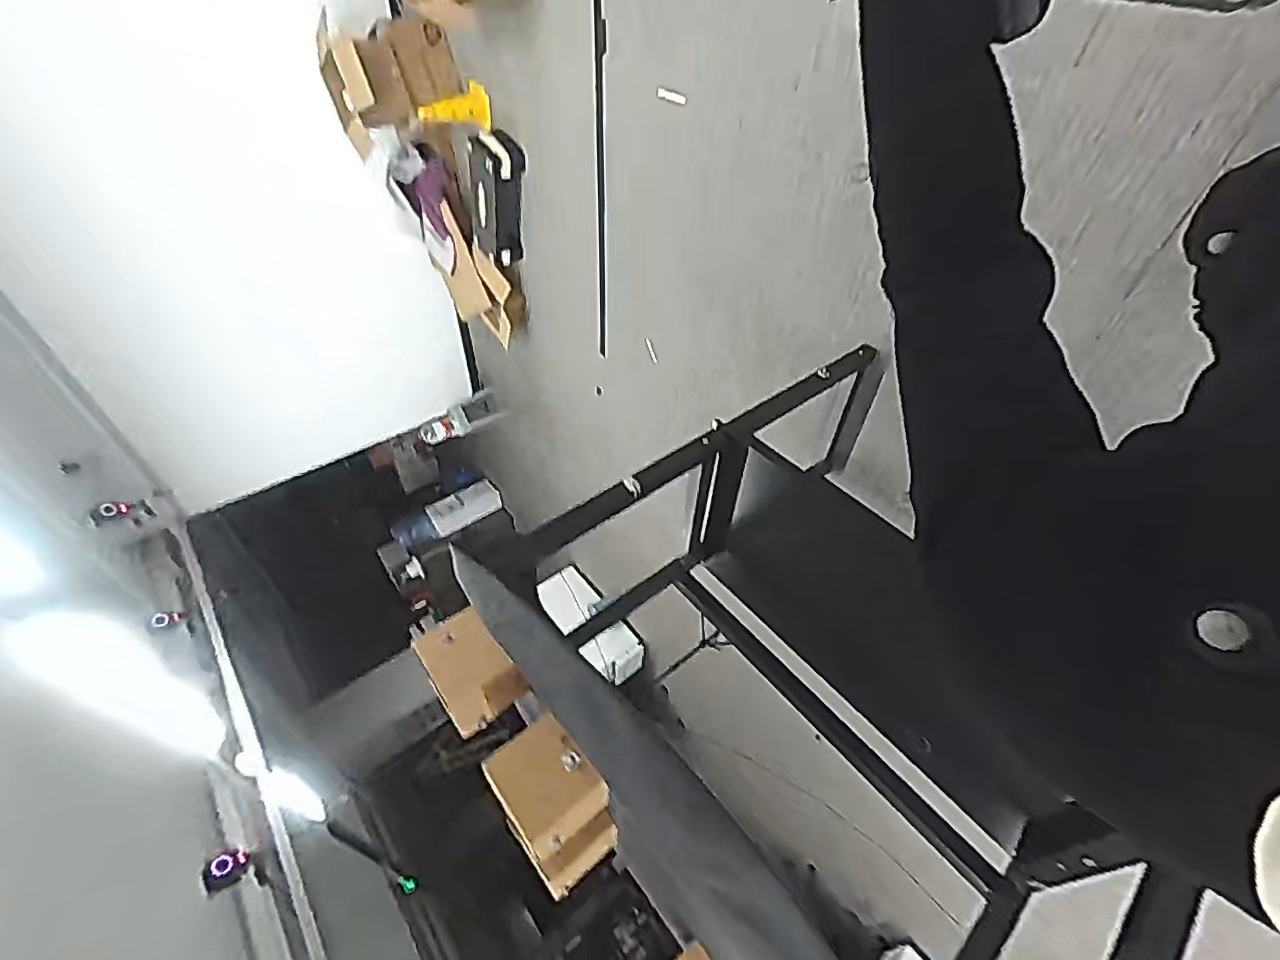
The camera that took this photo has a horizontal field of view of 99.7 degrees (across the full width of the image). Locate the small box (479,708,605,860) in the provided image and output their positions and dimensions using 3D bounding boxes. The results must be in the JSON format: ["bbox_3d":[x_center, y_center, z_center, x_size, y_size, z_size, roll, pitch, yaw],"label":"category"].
[{"bbox_3d":[-0.179,0.576,1.031,0.168,0.176,0.179,42,147,29],"label":"small box"}]

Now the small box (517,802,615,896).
[{"bbox_3d":[-0.173,0.757,1.190,0.179,0.176,0.168,42,147,32],"label":"small box"}]
